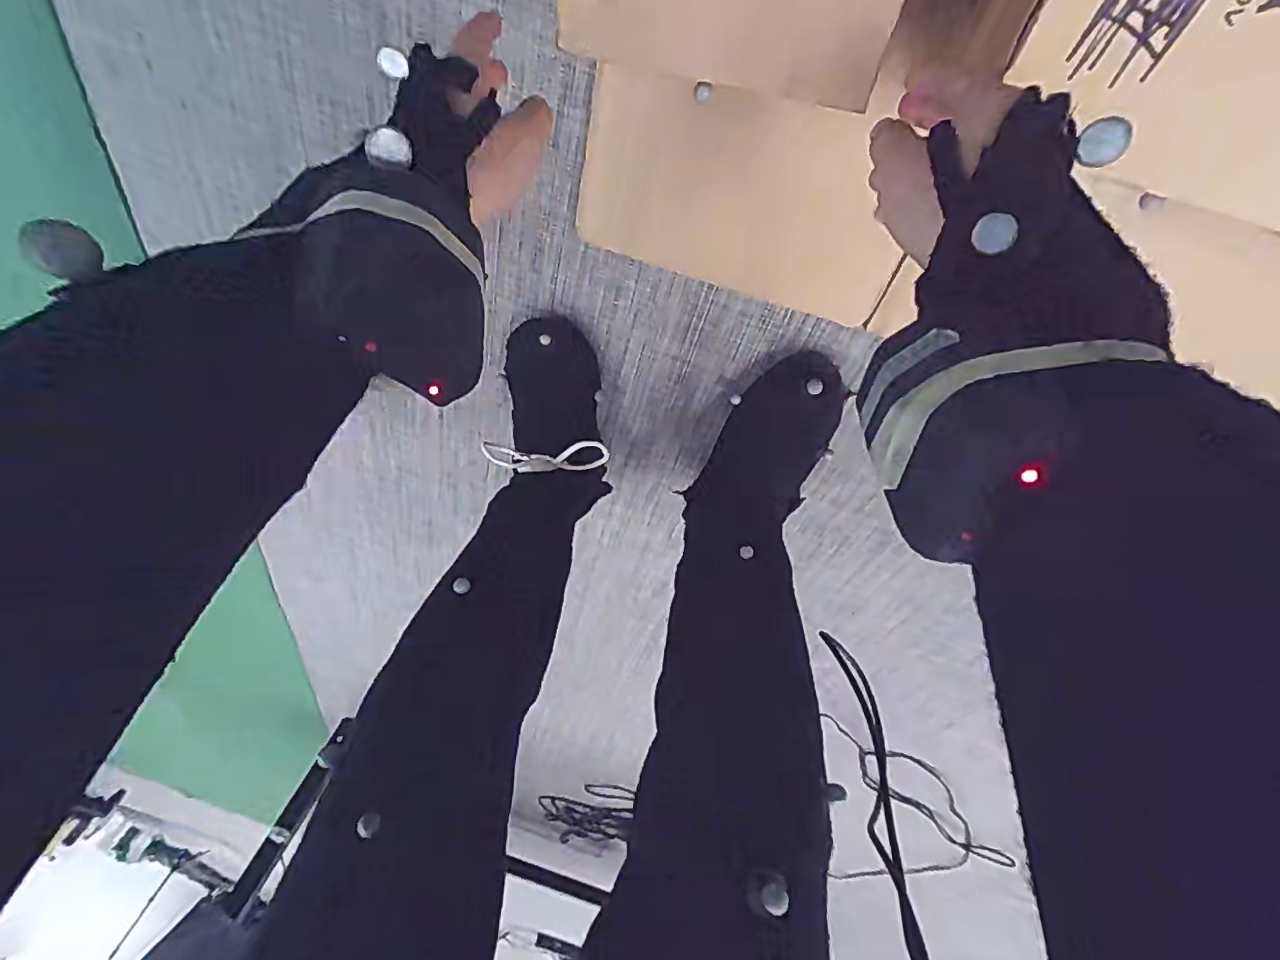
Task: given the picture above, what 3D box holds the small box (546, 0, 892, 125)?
[{"bbox_3d":[0.059,-0.324,0.305,0.179,0.176,0.168,14,133,3],"label":"small box"}]
